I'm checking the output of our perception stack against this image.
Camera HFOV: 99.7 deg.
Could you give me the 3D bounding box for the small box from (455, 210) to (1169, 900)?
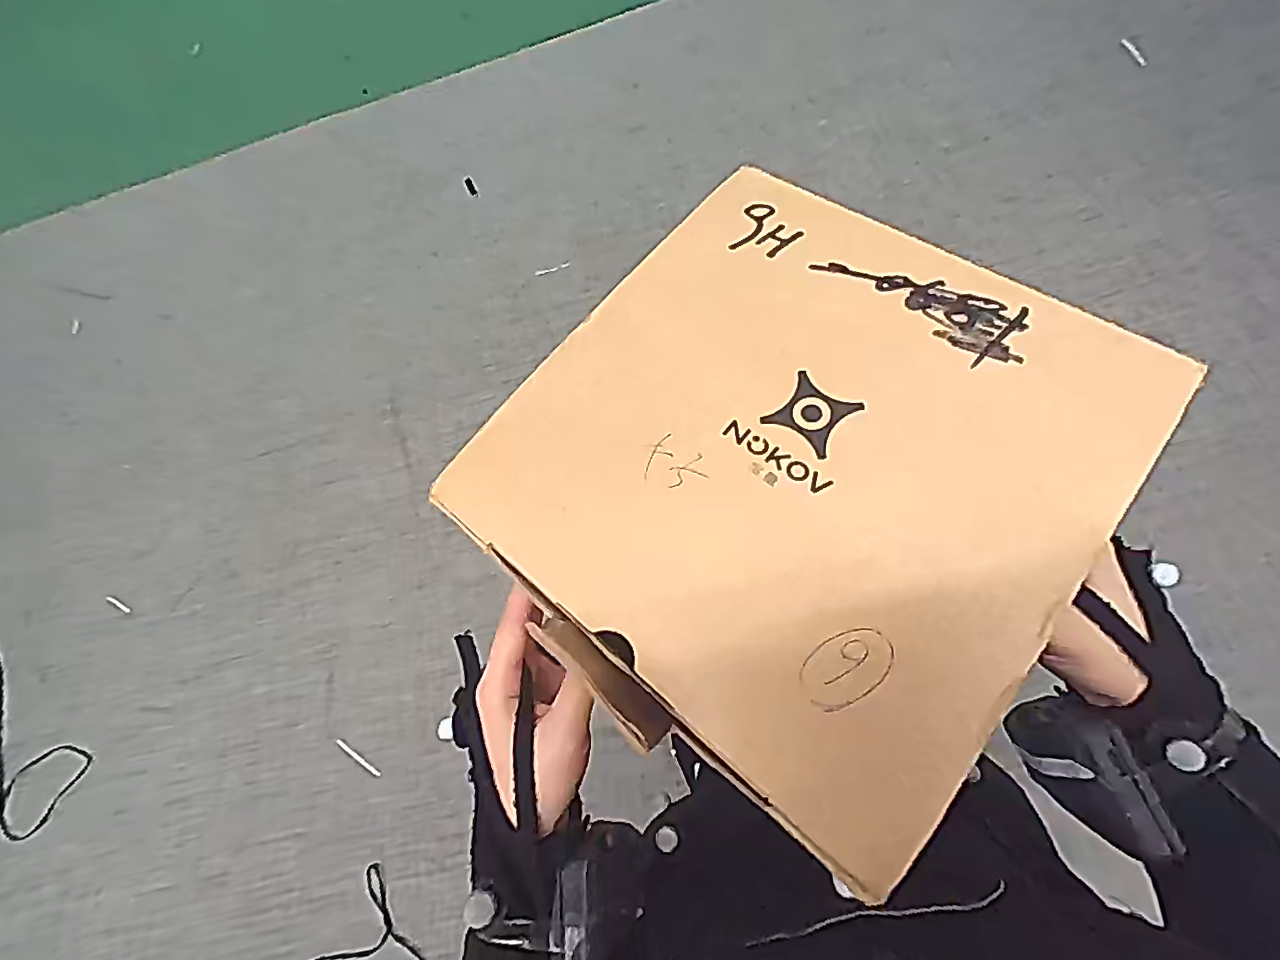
[{"bbox_3d":[0.060,0.027,0.250,0.168,0.176,0.179,36,77,20],"label":"small box"}]
